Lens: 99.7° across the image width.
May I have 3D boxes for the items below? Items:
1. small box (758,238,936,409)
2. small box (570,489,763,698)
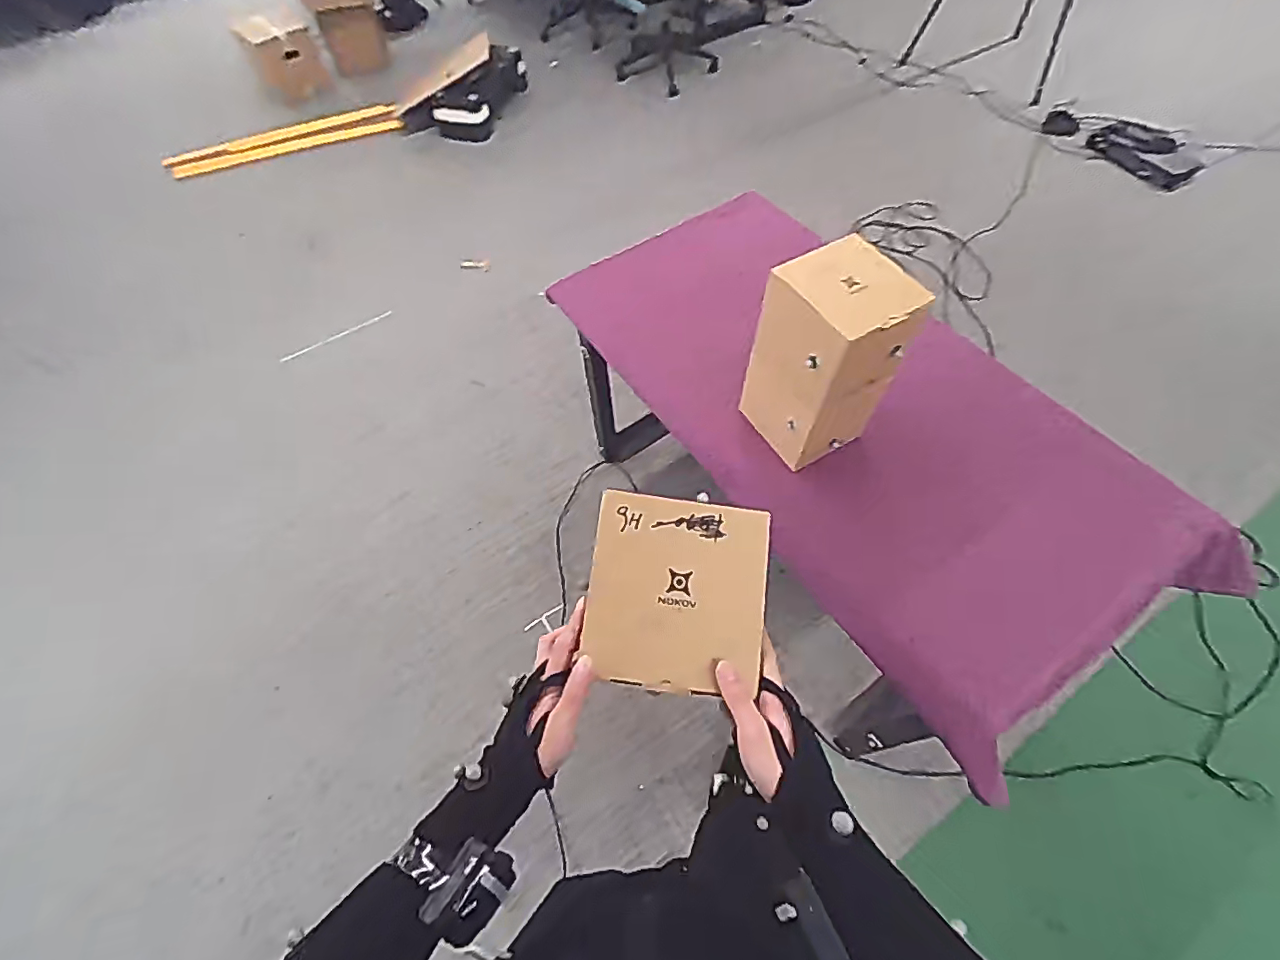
[{"bbox_3d":[0.308,-0.235,0.846,0.168,0.176,0.179,-27,62,-14],"label":"small box"},{"bbox_3d":[0.024,0.120,0.581,0.168,0.176,0.179,8,76,-2],"label":"small box"}]
